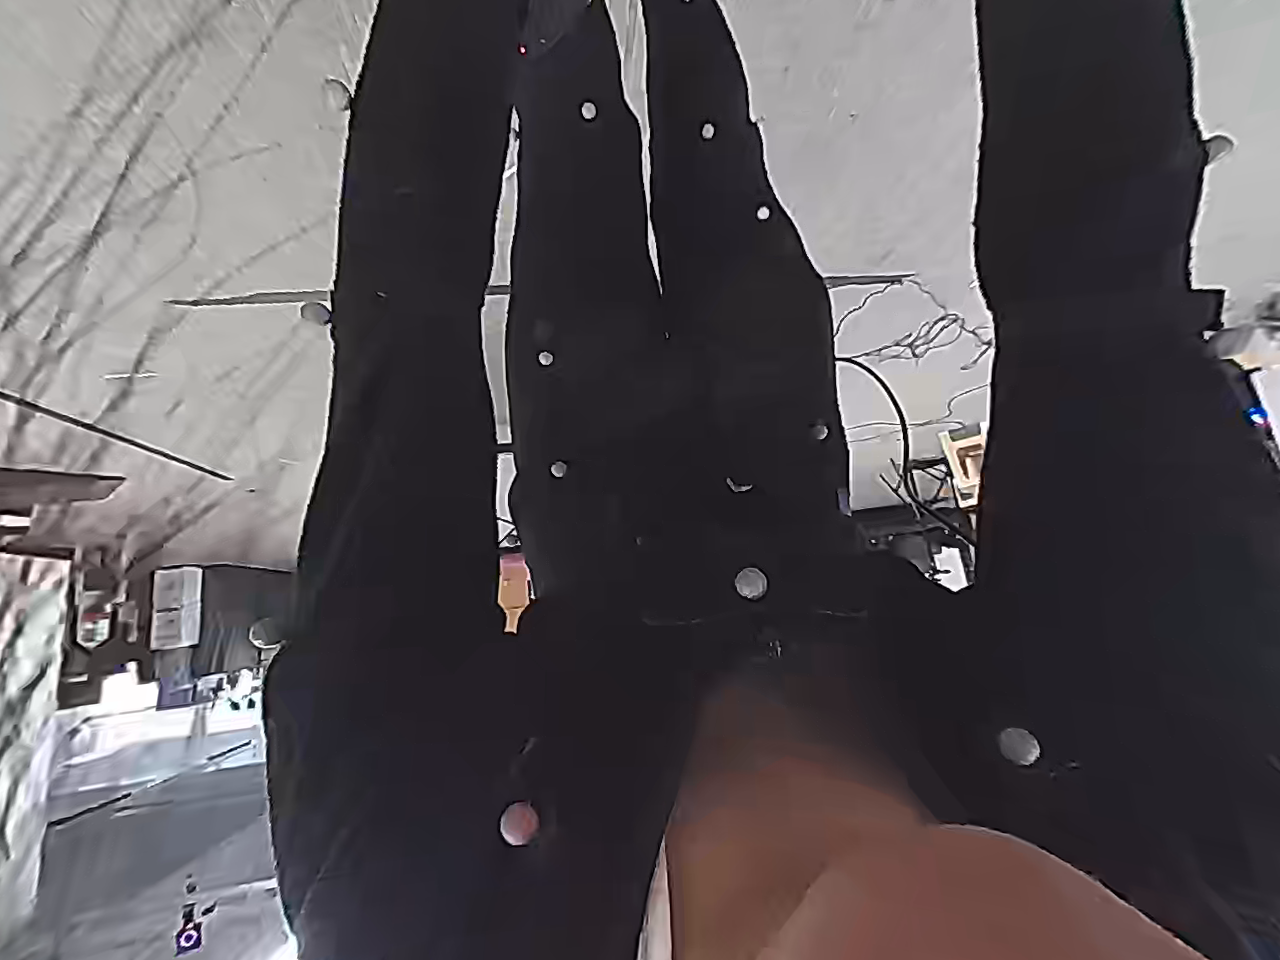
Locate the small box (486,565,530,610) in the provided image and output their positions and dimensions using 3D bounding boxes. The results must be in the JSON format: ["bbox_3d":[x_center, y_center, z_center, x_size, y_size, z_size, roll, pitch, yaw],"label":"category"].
[{"bbox_3d":[-0.556,0.450,2.272,0.168,0.176,0.179,-5,168,-15],"label":"small box"}]
